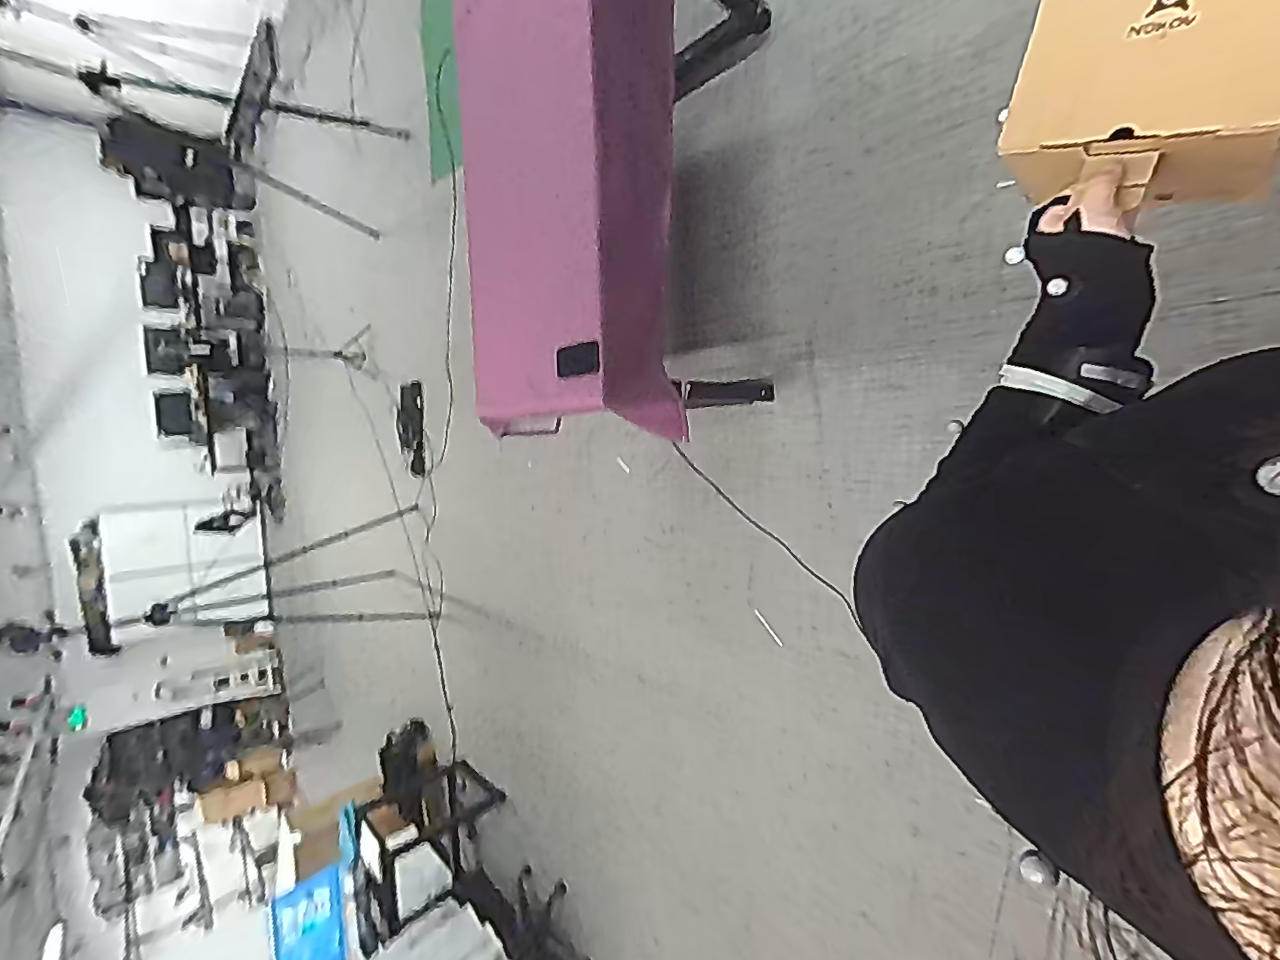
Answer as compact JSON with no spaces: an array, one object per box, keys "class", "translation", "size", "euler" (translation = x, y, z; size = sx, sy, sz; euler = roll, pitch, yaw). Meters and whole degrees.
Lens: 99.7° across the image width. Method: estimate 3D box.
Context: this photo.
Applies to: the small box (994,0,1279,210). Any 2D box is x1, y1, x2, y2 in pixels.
[{"class":"small box","translation":[0.423,-0.338,0.440],"size":[0.168,0.176,0.179],"euler":[23,111,41]}]
